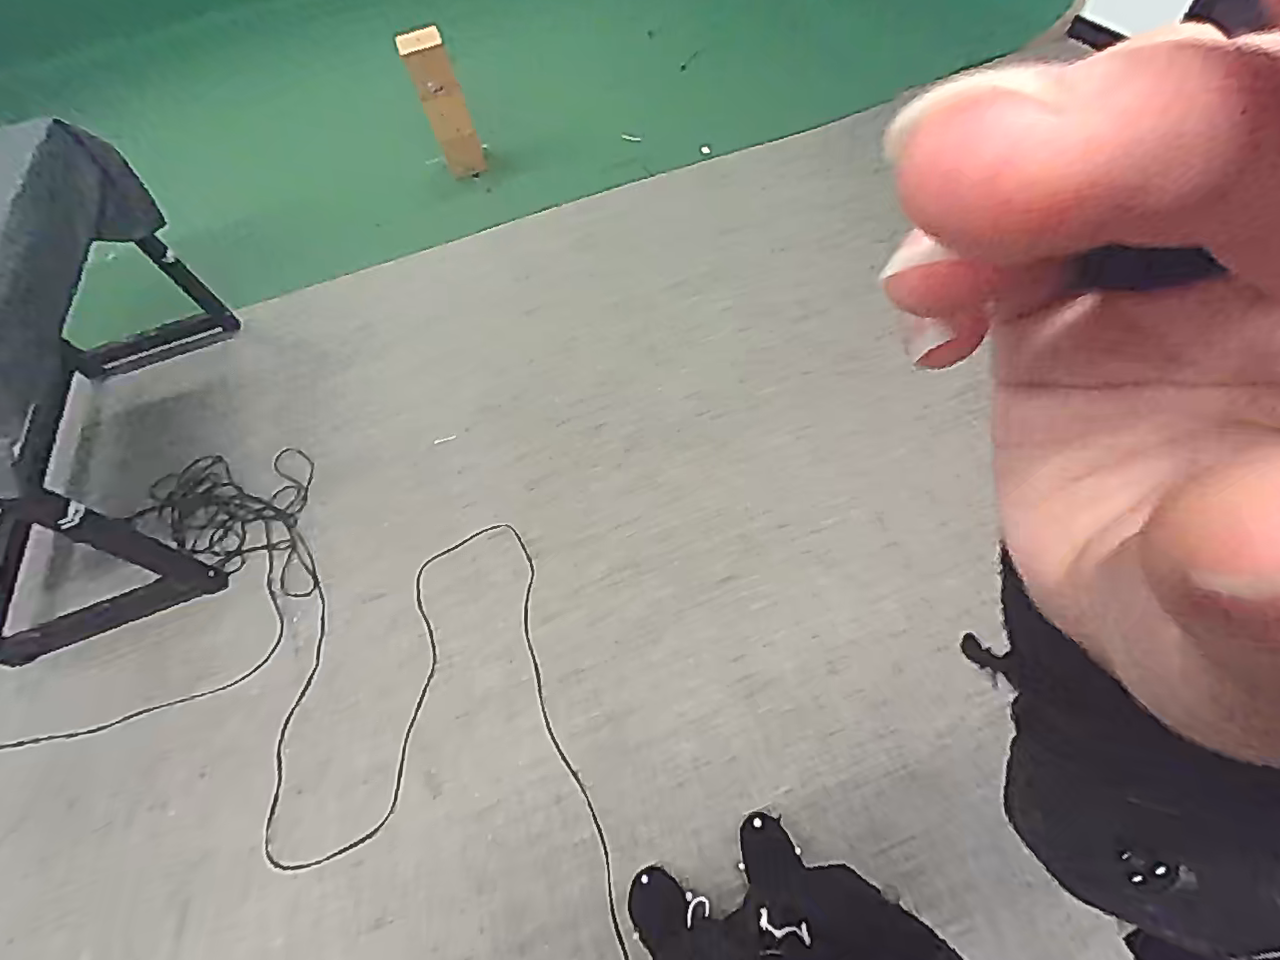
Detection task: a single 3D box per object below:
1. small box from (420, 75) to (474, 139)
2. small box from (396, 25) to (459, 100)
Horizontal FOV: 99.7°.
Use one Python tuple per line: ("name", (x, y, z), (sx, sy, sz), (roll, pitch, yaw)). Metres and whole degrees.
("small box", (-0.818, -1.574, 2.284), (0.168, 0.176, 0.179), (-19, 59, -4))
("small box", (-0.839, -1.649, 2.141), (0.168, 0.176, 0.179), (-22, 60, -4))
